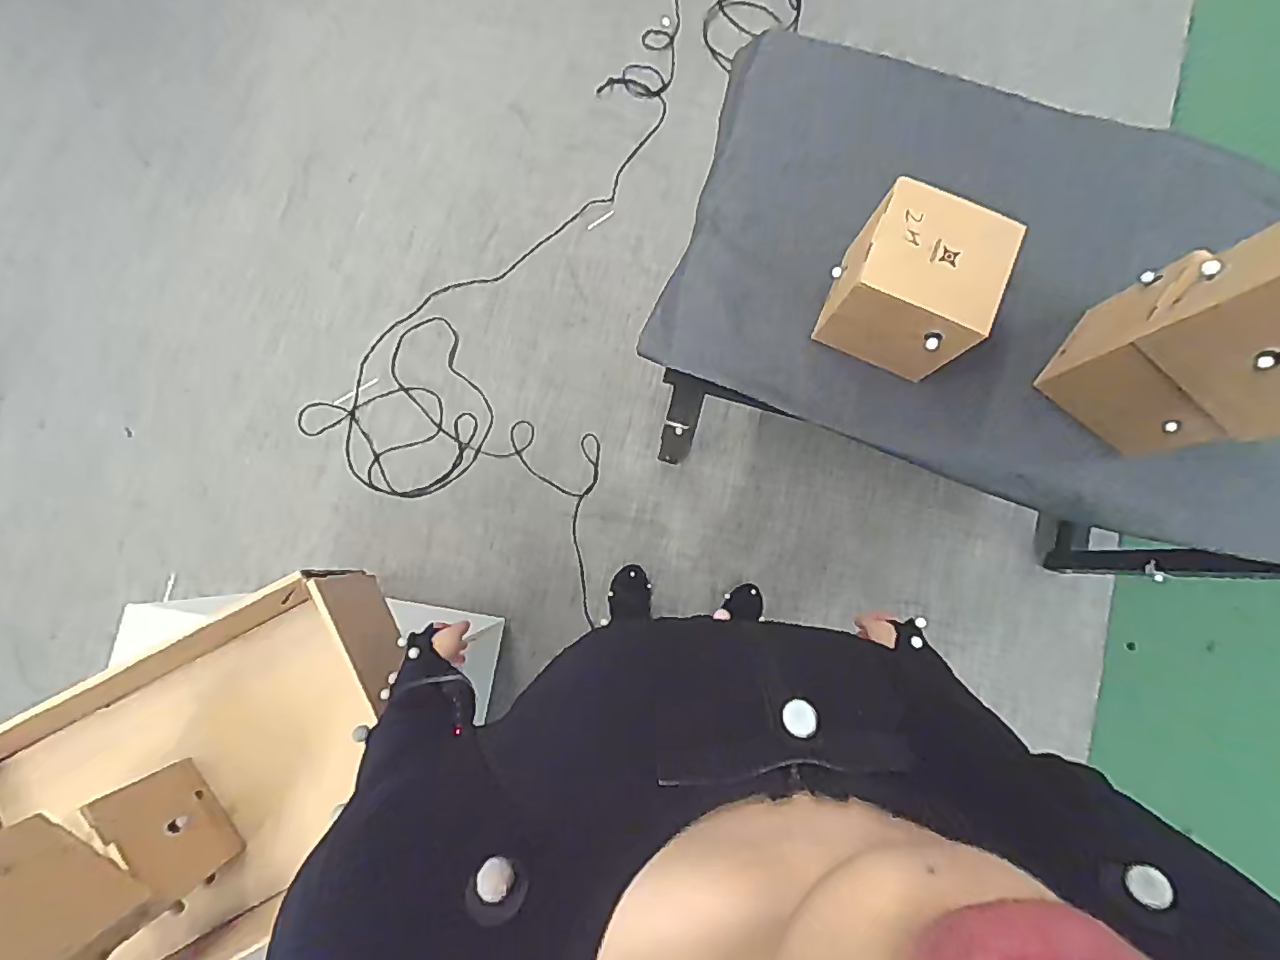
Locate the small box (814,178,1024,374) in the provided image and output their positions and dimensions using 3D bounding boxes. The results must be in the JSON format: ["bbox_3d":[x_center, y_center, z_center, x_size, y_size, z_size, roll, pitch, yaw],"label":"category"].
[{"bbox_3d":[0.372,-0.267,0.752,0.179,0.176,0.168,24,81,3],"label":"small box"}]

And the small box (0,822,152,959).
[{"bbox_3d":[-0.689,0.499,0.561,0.179,0.176,0.168,33,84,1],"label":"small box"}]

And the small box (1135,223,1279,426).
[{"bbox_3d":[0.709,-0.175,0.574,0.168,0.176,0.179,-43,83,-7],"label":"small box"}]
